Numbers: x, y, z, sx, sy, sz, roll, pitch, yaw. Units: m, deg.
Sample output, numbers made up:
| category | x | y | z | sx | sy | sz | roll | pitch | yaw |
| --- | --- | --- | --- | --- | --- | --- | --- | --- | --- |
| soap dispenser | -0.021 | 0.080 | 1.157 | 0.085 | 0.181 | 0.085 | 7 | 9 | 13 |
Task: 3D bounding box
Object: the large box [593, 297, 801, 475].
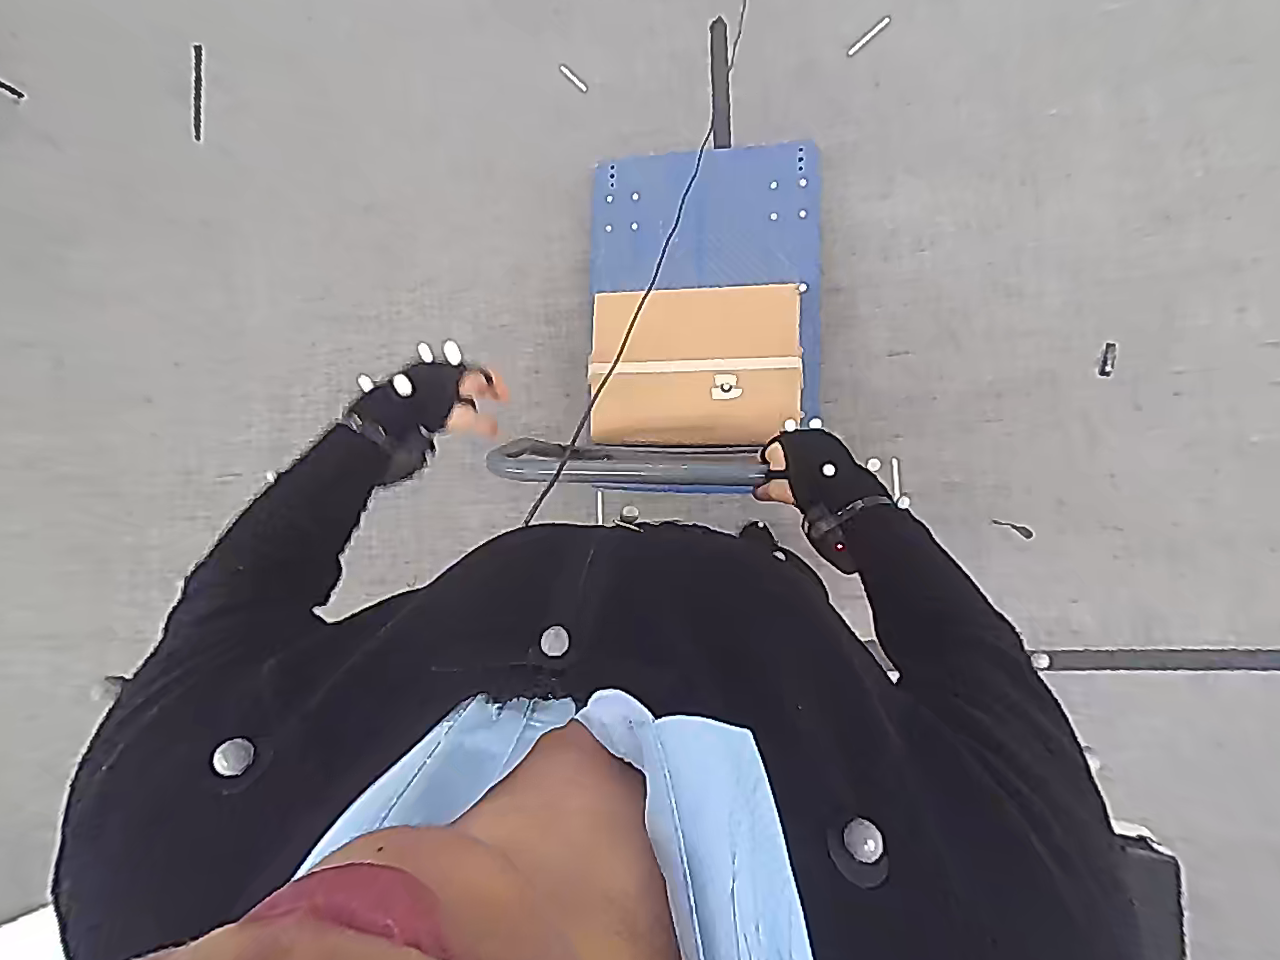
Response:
| category | x | y | z | sx | sy | sz | roll | pitch | yaw |
| --- | --- | --- | --- | --- | --- | --- | --- | --- | --- |
| large box | 0.126 | -0.181 | 1.187 | 0.408 | 0.320 | 0.320 | 1 | 86 | 9 |
